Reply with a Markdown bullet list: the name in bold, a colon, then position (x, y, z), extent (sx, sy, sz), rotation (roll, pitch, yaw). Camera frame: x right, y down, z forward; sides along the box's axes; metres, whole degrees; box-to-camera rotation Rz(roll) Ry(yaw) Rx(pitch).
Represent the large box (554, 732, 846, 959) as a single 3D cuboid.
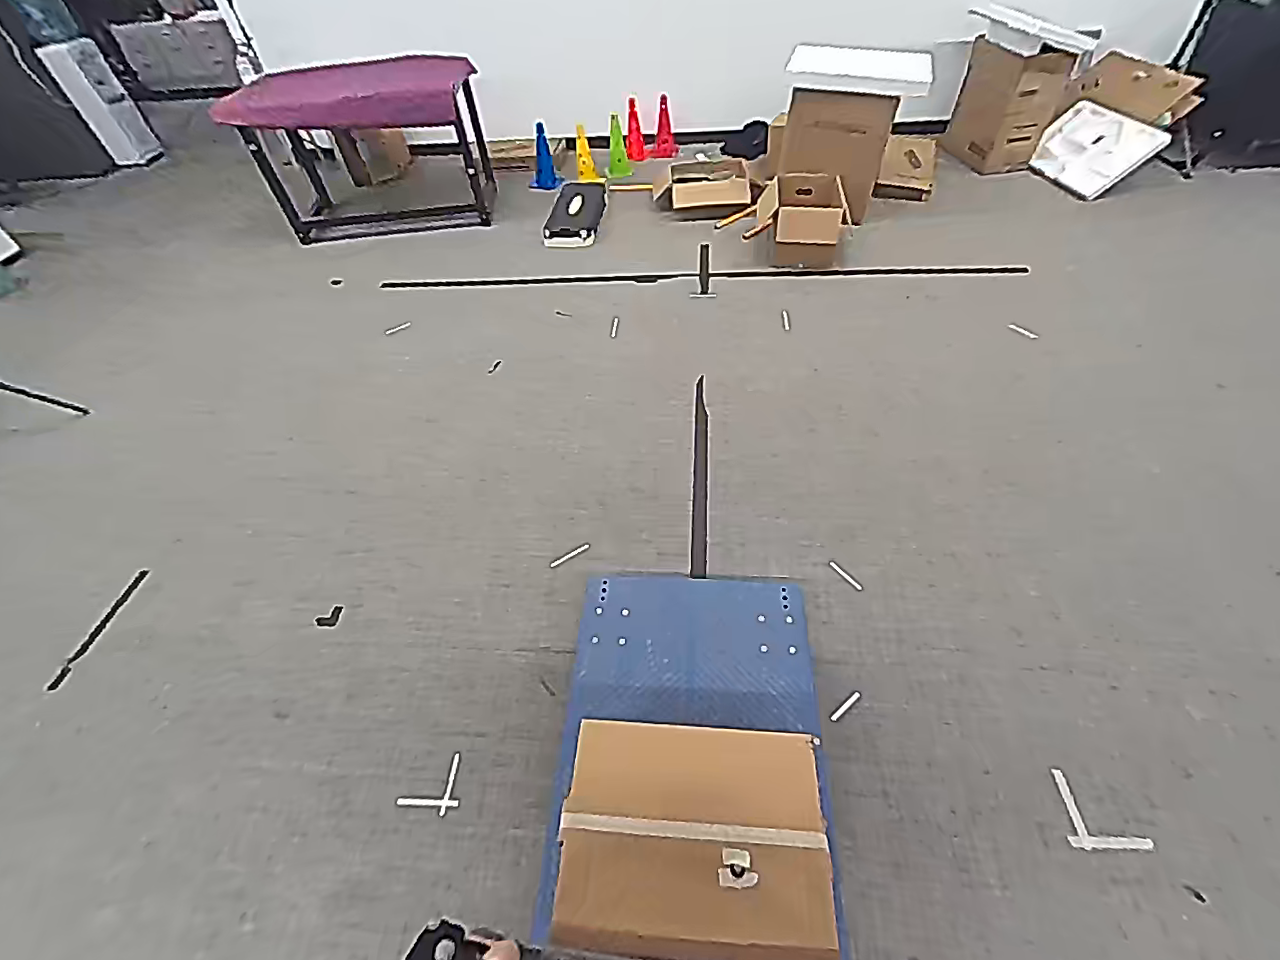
- **large box**: position (0.092, 0.655, 0.929), extent (0.408, 0.320, 0.320), rotation (2, 48, 5)
